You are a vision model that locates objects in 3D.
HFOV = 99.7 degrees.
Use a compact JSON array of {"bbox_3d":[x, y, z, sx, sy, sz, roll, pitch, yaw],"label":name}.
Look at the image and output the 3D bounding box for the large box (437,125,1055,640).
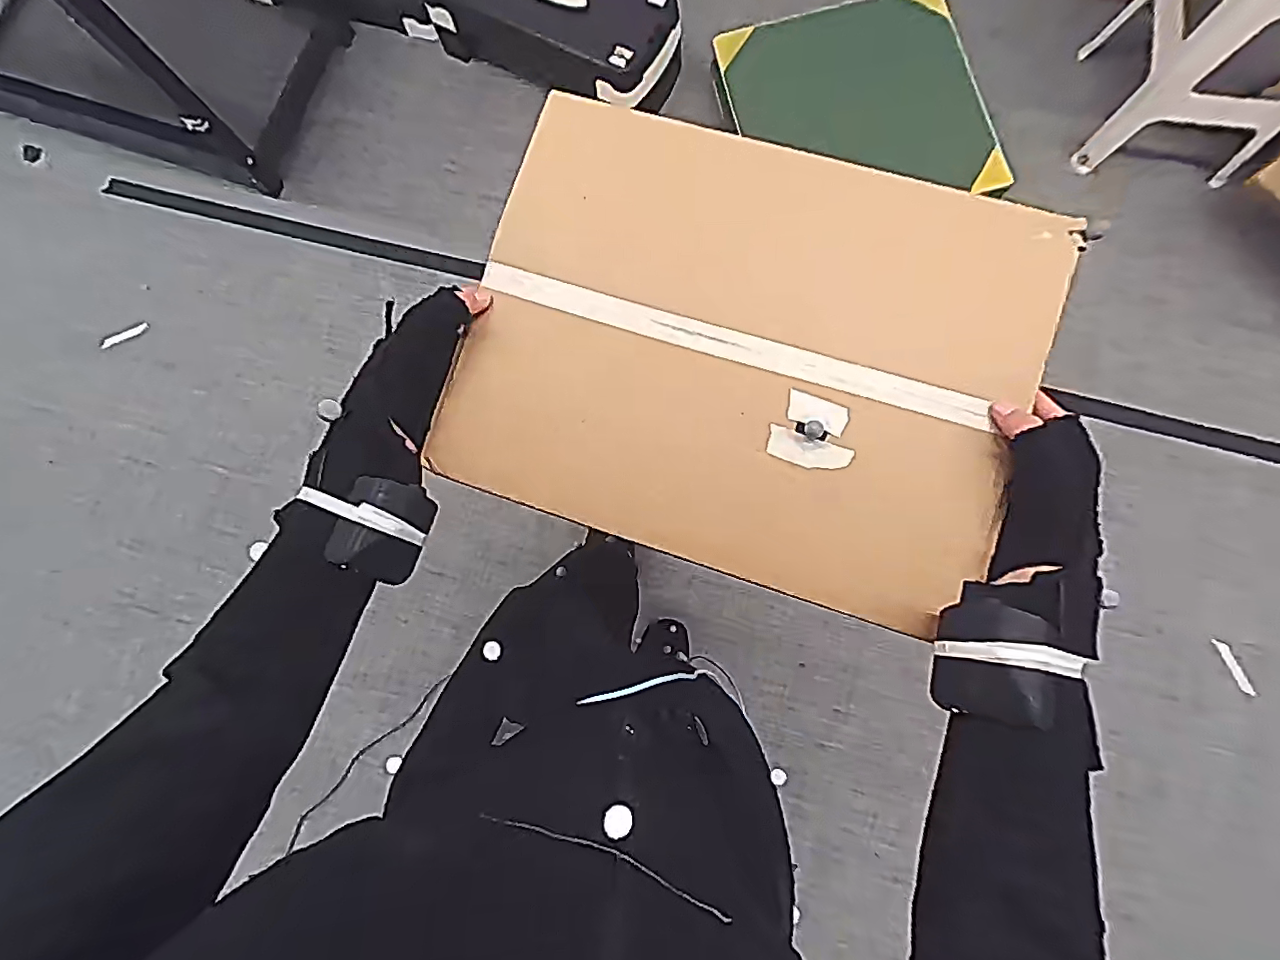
[{"bbox_3d":[0.083,-0.073,0.554,0.408,0.320,0.320,18,87,5],"label":"large box"}]
